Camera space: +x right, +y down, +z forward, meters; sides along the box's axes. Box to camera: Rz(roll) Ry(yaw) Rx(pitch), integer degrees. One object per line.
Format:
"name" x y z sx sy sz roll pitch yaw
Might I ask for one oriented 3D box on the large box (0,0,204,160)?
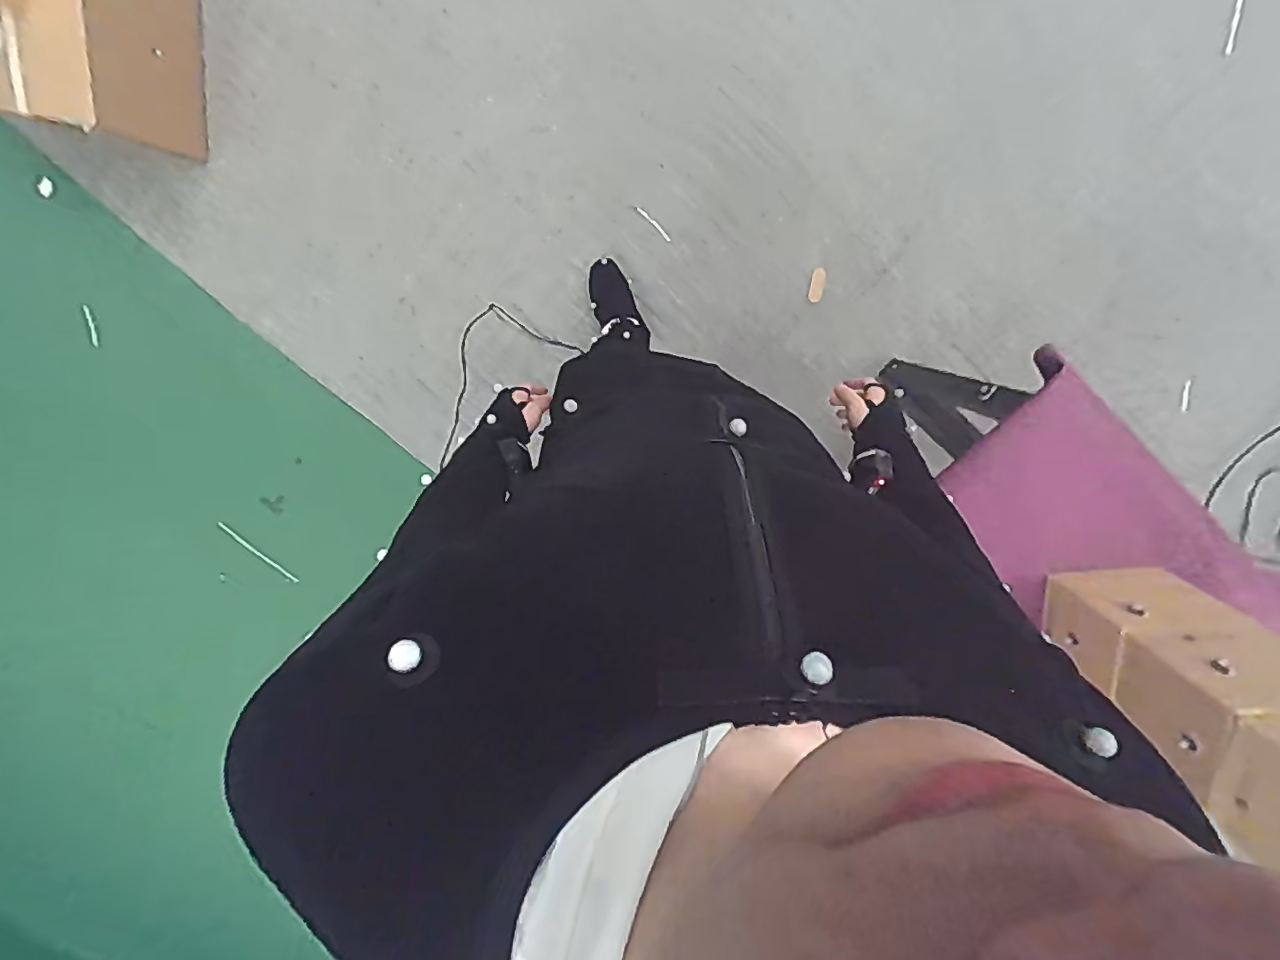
"large box" -1.291 -1.024 1.247 0.320 0.320 0.408 11 109 0

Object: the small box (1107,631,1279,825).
"small box" 0.768 0.313 0.711 0.168 0.176 0.179 -5 108 6

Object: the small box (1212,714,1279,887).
"small box" 0.763 0.360 0.556 0.179 0.176 0.168 -7 107 6

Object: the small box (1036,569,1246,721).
"small box" 0.777 0.256 0.863 0.179 0.176 0.168 -5 108 5
